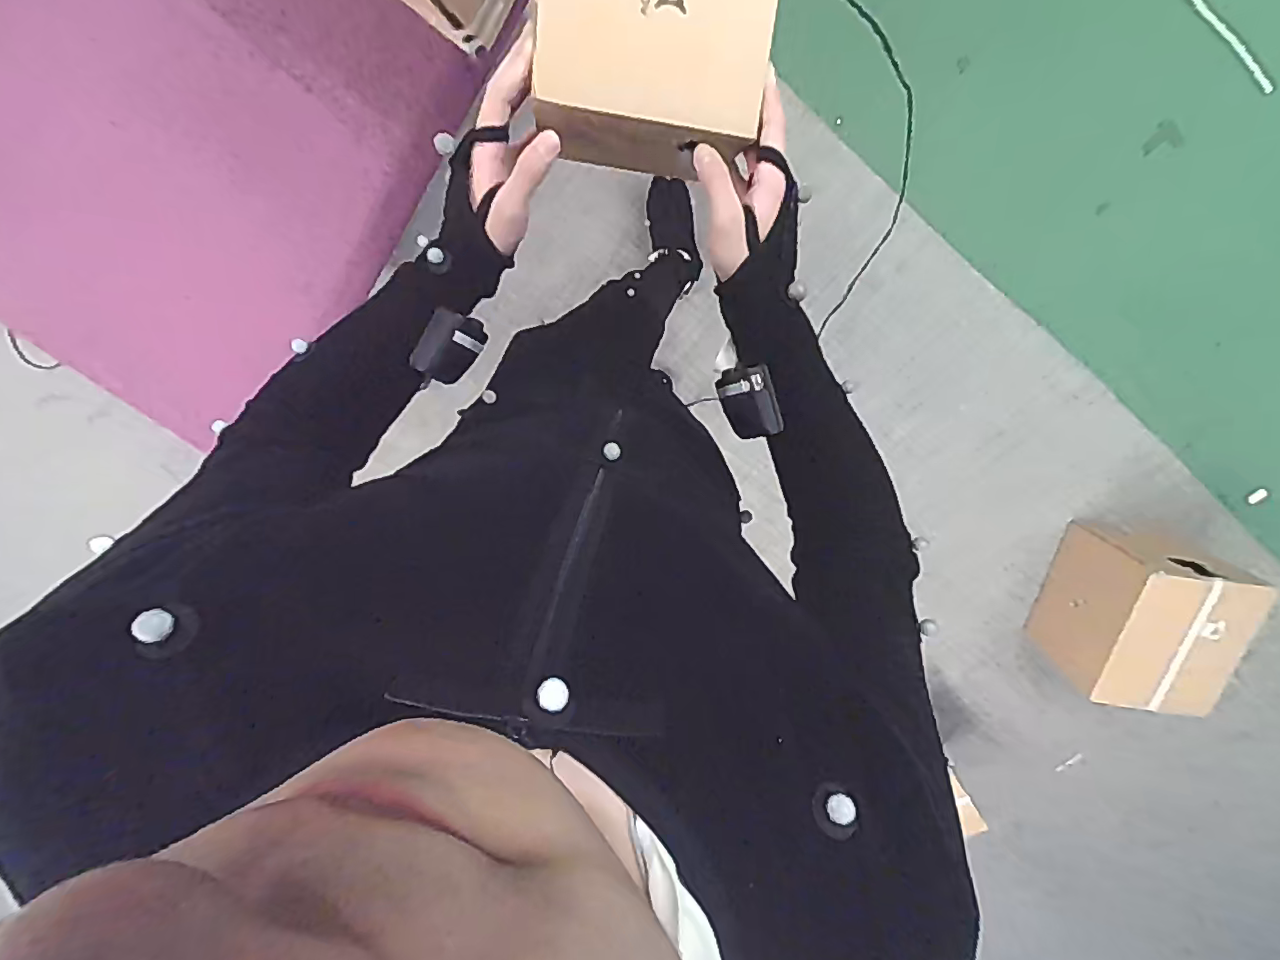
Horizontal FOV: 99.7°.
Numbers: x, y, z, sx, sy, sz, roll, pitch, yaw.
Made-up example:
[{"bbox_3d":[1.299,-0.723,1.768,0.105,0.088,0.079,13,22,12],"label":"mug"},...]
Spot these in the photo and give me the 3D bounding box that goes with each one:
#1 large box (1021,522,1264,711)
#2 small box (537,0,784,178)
[{"bbox_3d":[1.380,0.376,1.539,0.320,0.320,0.408,7,109,1],"label":"large box"},{"bbox_3d":[0.007,-0.371,0.459,0.179,0.176,0.168,4,107,-10],"label":"small box"}]
